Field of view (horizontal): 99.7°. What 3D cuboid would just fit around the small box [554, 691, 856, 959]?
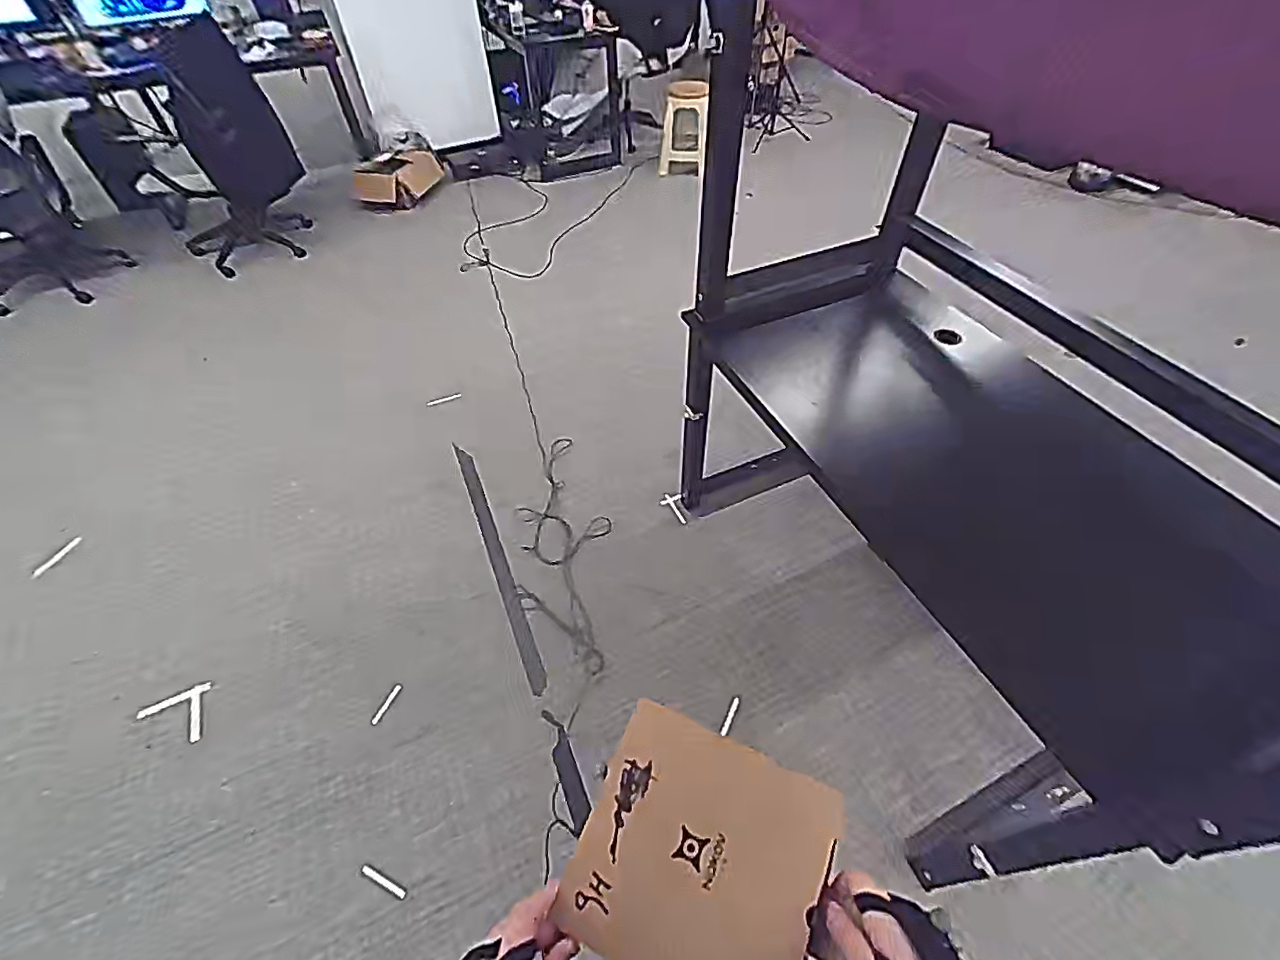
[{"bbox_3d":[0.054,0.305,0.461,0.179,0.176,0.168,21,63,14],"label":"small box"}]
